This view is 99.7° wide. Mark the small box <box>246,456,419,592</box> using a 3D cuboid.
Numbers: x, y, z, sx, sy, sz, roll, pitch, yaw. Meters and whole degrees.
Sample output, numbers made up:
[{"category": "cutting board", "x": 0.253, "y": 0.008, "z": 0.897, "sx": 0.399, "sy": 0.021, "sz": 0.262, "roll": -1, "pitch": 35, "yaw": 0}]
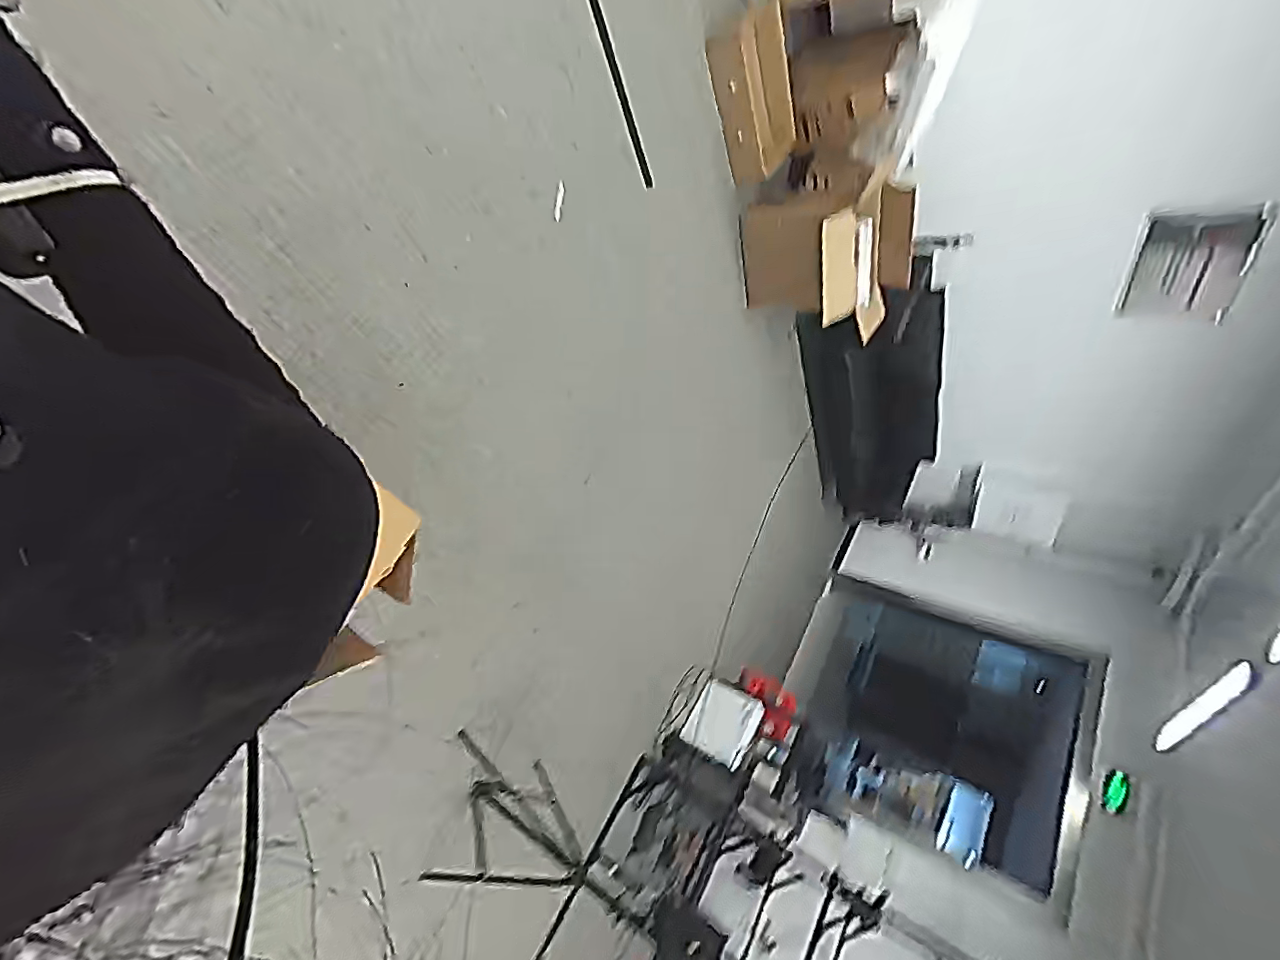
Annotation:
[{"category": "small box", "x": -0.546, "y": 0.072, "z": 0.967, "sx": 0.168, "sy": 0.176, "sz": 0.179, "roll": -60, "pitch": 139, "yaw": -24}]
